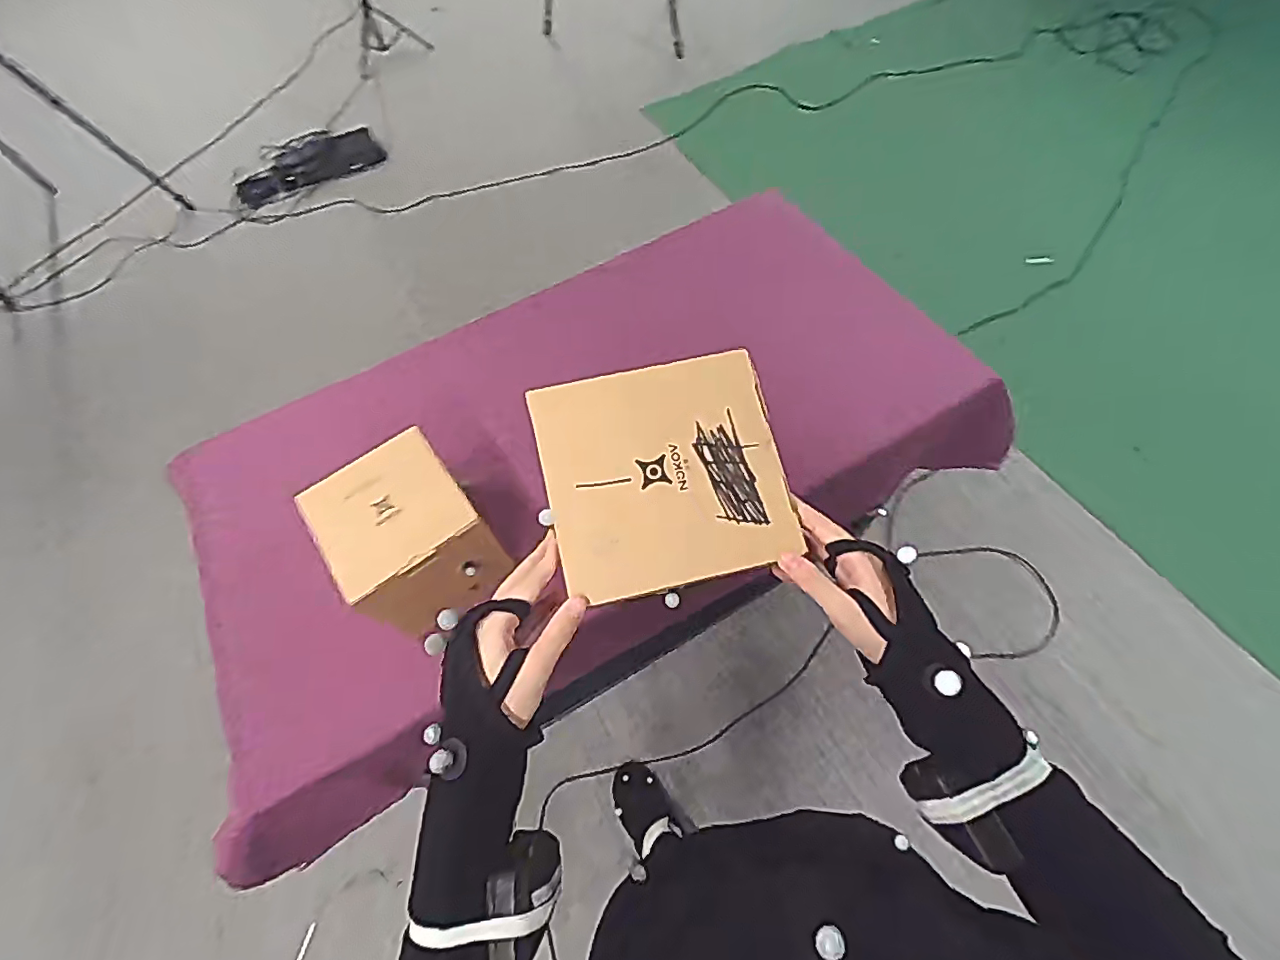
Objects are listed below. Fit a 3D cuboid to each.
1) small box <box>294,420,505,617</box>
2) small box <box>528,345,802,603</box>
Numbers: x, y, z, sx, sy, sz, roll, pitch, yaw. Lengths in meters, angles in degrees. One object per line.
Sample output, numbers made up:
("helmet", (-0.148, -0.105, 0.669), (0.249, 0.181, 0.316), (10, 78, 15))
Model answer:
("small box", (-0.304, 0.061, 0.715), (0.168, 0.176, 0.179), (-35, 64, -14))
("small box", (0.012, 0.005, 0.470), (0.179, 0.176, 0.168), (-12, 79, -5))
